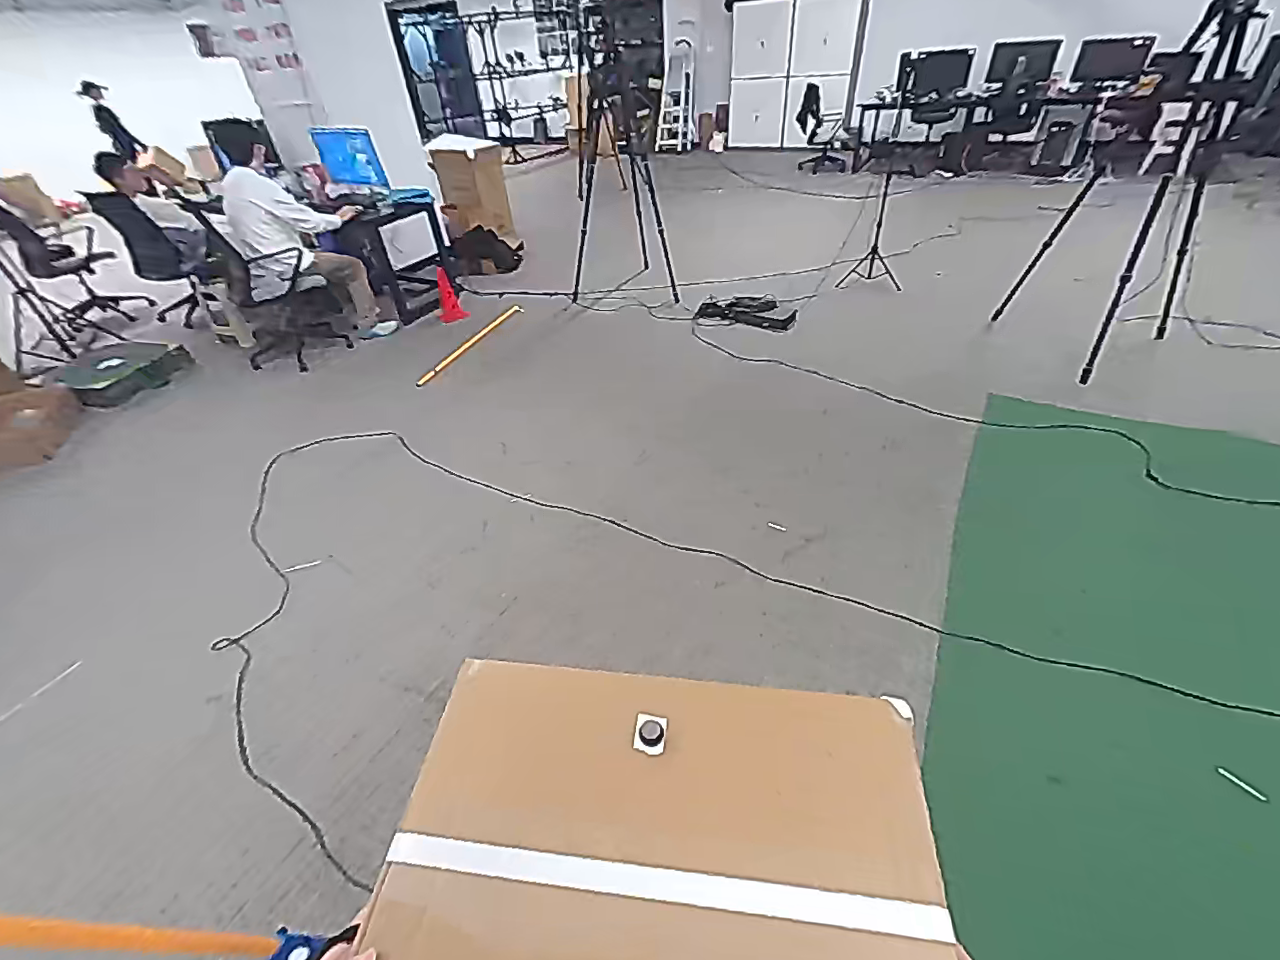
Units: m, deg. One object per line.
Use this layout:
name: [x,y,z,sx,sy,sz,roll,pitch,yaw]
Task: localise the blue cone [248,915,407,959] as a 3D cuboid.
blue cone: [-0.618,0.930,1.022,0.192,0.380,0.193,15,45,22]
